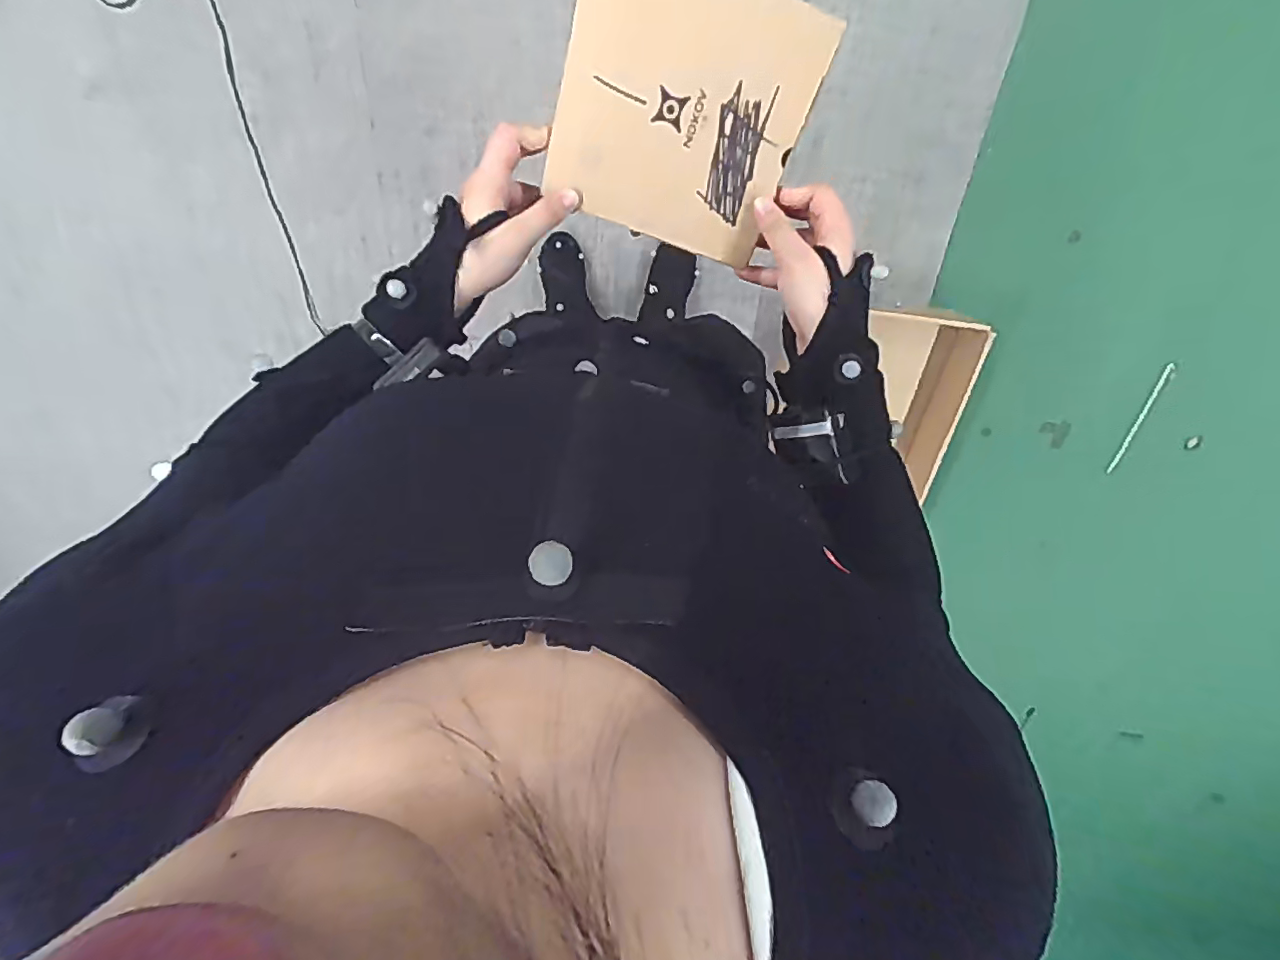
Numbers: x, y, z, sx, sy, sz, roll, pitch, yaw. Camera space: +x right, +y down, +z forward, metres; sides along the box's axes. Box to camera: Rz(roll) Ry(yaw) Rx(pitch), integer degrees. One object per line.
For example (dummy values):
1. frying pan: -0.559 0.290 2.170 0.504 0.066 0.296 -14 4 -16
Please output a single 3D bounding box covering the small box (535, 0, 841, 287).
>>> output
1. small box: 0.031 -0.288 0.451 0.179 0.176 0.168 18 122 -7
